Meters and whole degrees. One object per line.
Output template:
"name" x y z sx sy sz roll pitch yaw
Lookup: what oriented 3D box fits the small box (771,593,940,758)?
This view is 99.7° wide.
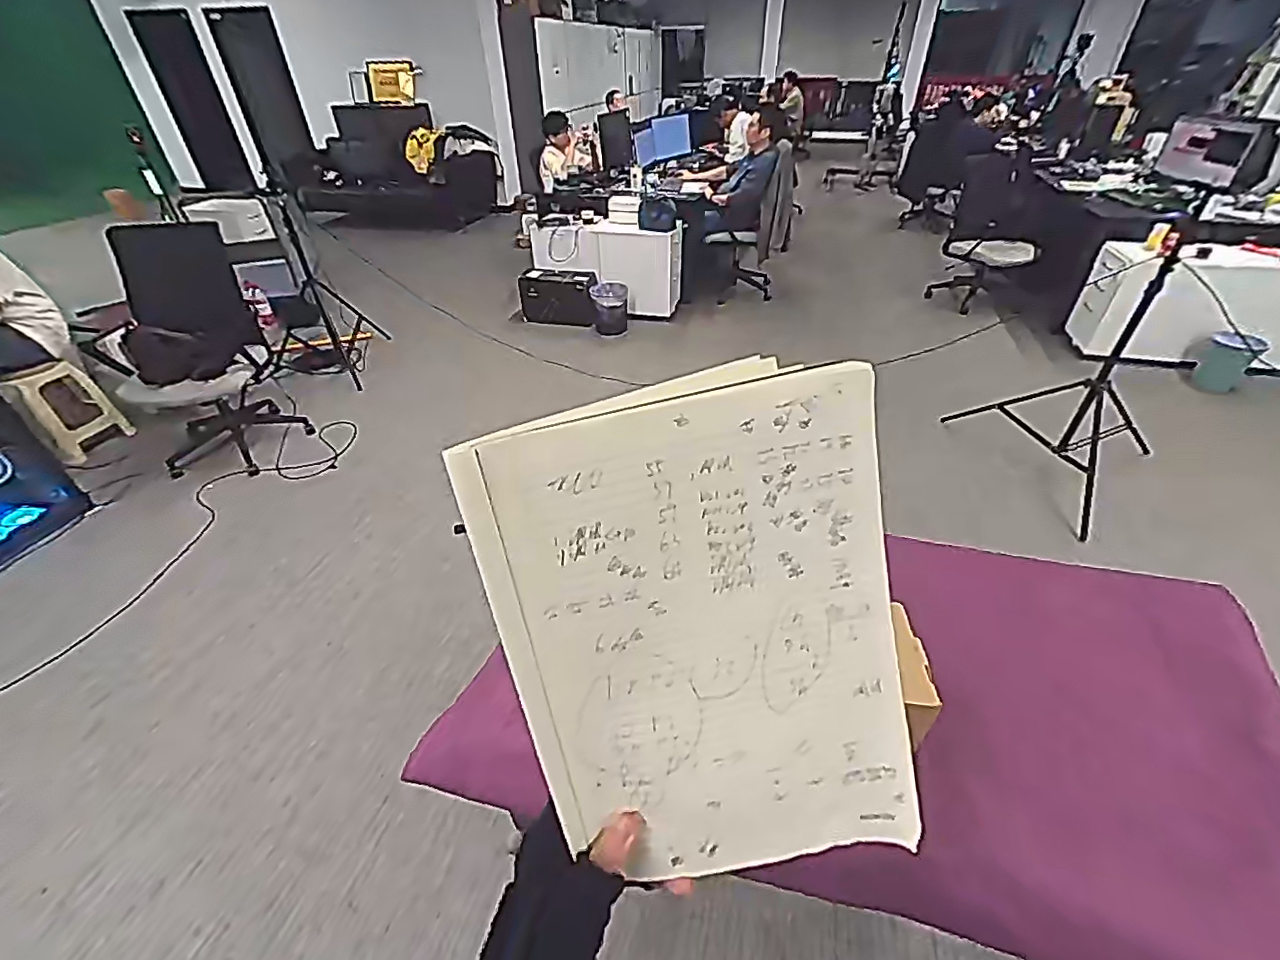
"small box" 0.301 0.290 0.799 0.179 0.176 0.168 2 38 3
